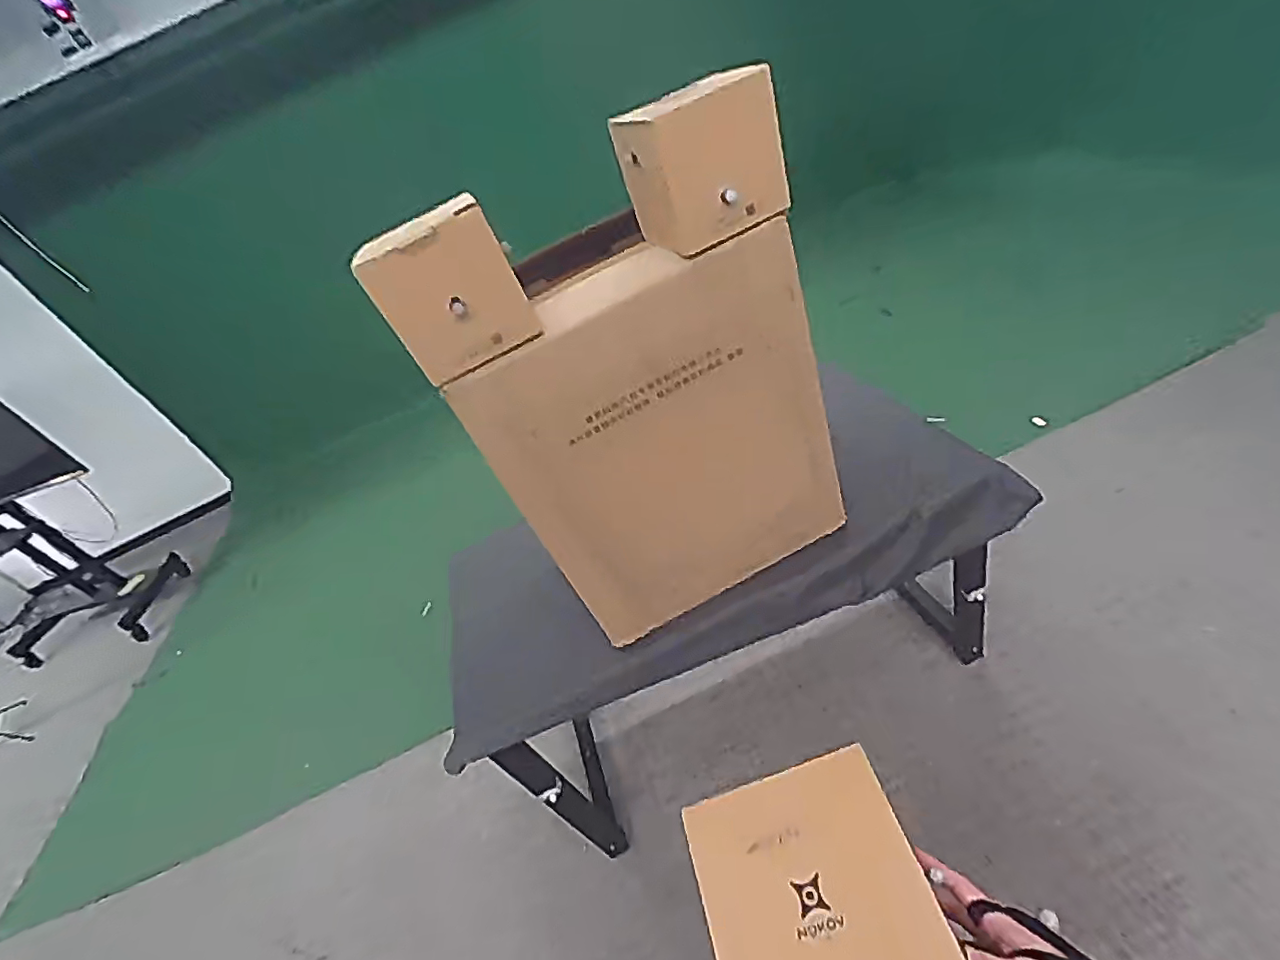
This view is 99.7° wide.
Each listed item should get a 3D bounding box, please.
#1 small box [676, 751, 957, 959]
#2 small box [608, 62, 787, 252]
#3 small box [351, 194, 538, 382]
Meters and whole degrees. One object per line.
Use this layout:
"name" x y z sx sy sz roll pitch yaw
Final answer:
"small box" 0.153 0.361 0.450 0.168 0.176 0.179 -26 44 7
"small box" 0.079 -0.437 0.746 0.168 0.176 0.179 -28 37 -3
"small box" -0.254 -0.256 0.730 0.168 0.176 0.179 -29 37 -2
